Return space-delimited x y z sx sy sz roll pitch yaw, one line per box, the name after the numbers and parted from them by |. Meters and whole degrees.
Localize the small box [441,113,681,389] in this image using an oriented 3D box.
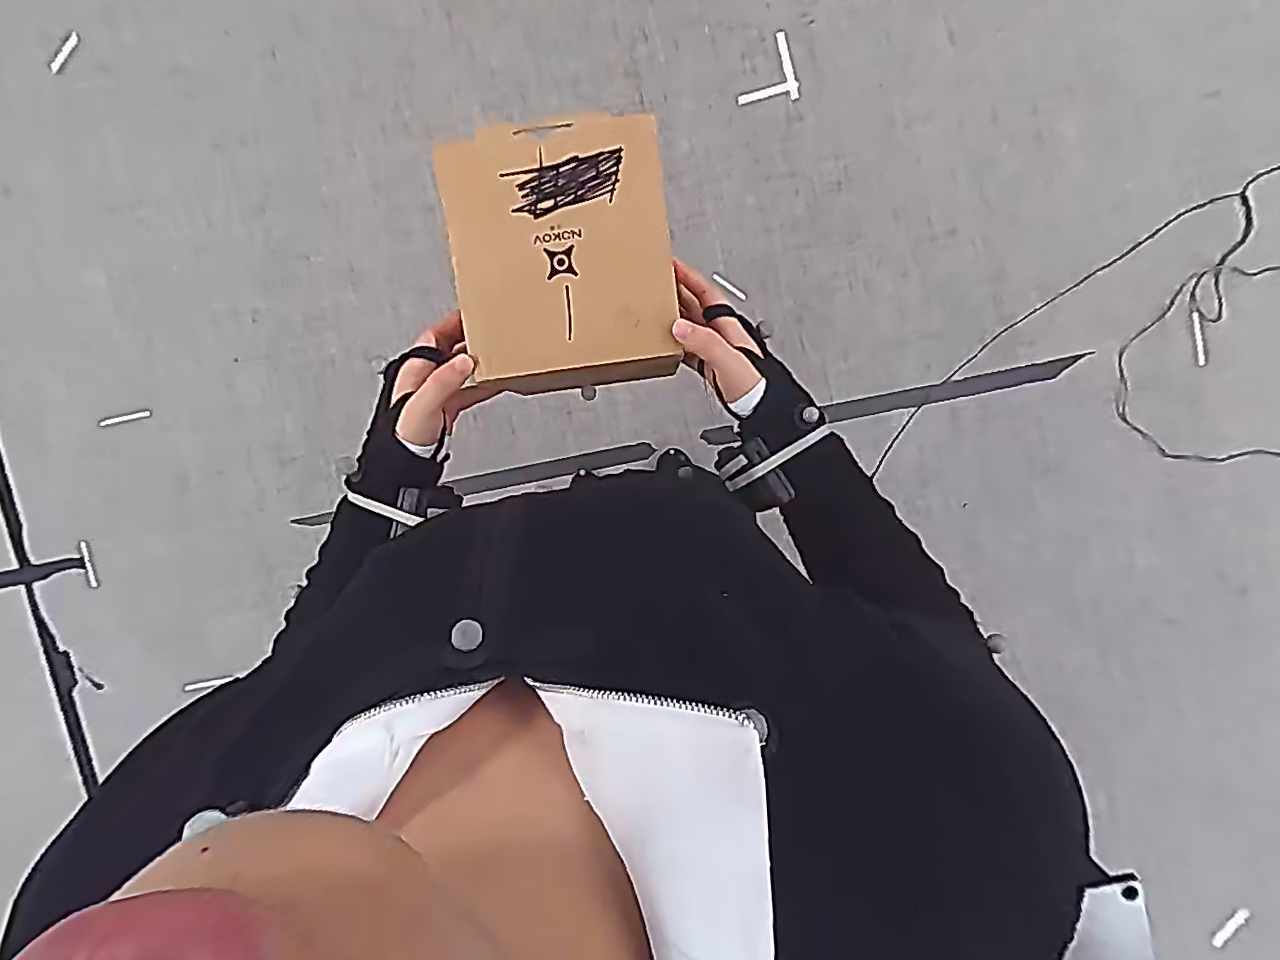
-0.057 -0.183 0.486 0.168 0.176 0.179 -7 96 2 | small box
